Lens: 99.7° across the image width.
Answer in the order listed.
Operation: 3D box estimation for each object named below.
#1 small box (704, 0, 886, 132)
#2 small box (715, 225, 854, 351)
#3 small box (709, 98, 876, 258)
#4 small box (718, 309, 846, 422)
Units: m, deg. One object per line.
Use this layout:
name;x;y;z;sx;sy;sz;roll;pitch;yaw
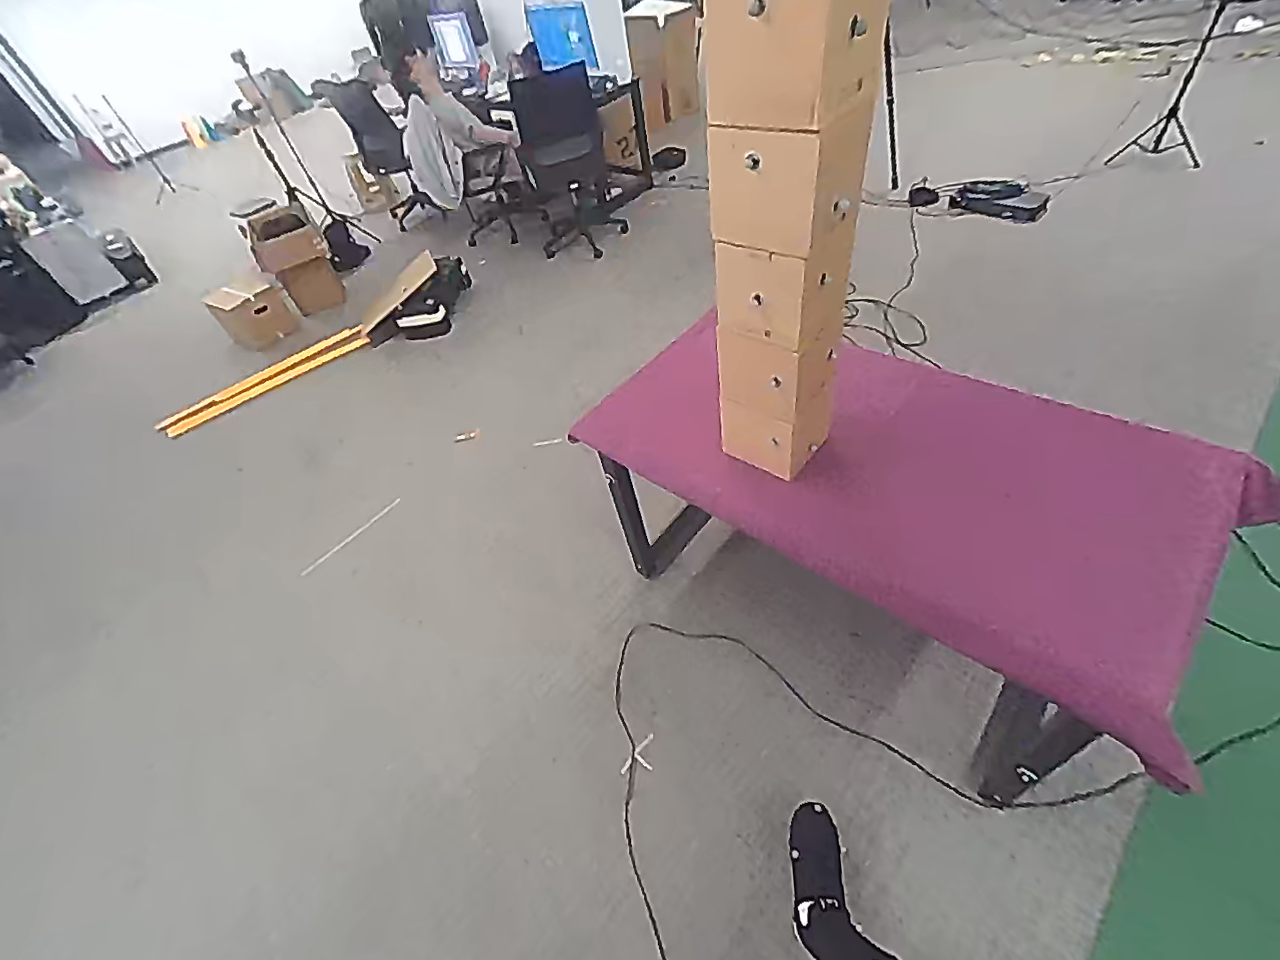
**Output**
small box;0.204;-0.568;0.700;0.179;0.176;0.168;27;58;32
small box;0.252;-0.351;0.939;0.168;0.176;0.179;28;59;31
small box;0.224;-0.458;0.818;0.179;0.176;0.168;28;59;31
small box;0.274;-0.238;1.055;0.179;0.176;0.168;29;59;33
